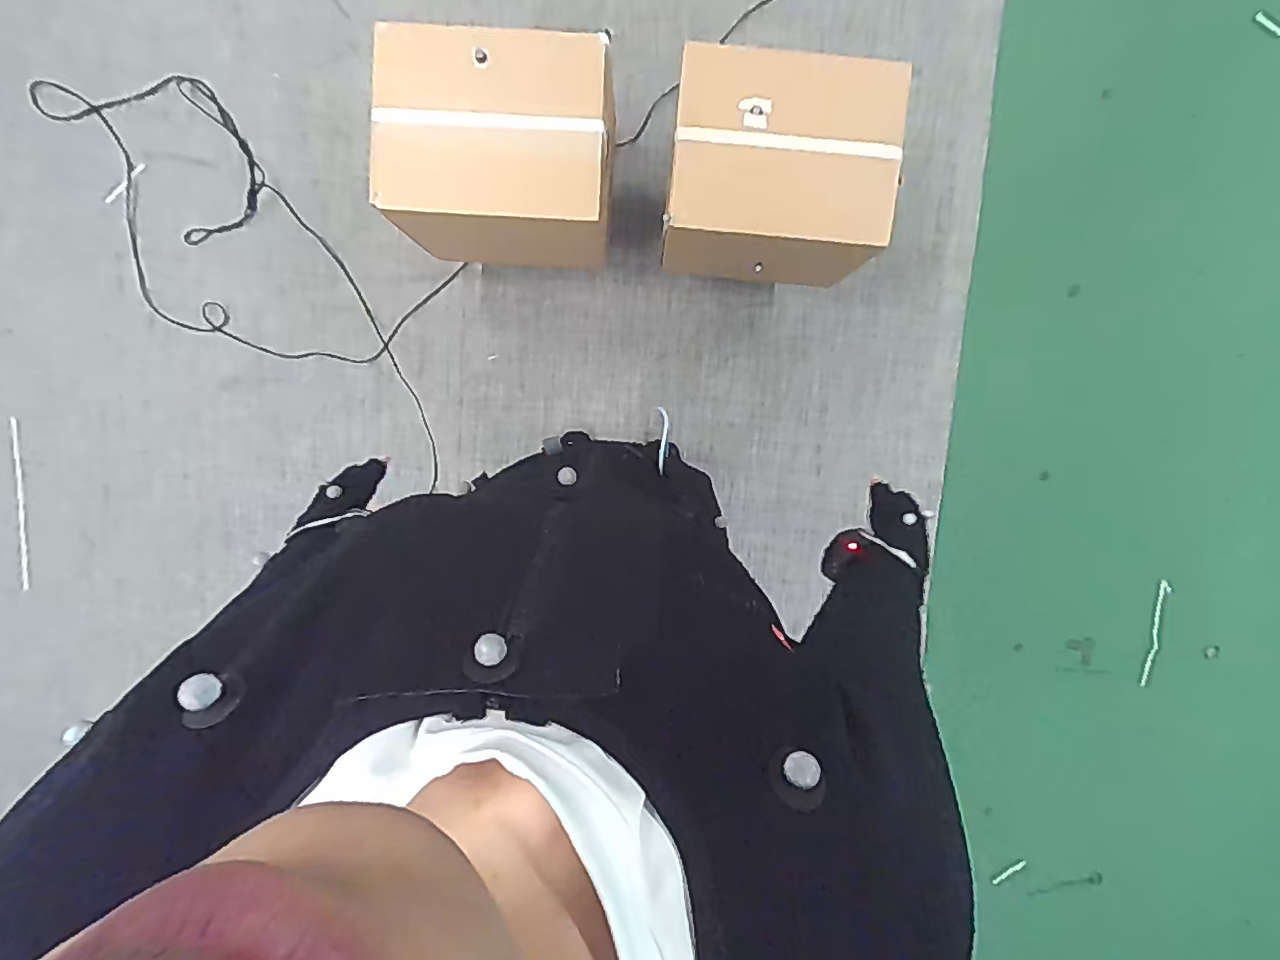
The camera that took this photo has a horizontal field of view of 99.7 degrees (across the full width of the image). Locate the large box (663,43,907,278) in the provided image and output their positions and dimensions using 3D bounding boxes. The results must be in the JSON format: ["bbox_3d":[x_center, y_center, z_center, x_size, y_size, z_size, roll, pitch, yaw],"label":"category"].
[{"bbox_3d":[0.266,-0.622,1.118,0.408,0.320,0.320,6,96,-1],"label":"large box"}]
